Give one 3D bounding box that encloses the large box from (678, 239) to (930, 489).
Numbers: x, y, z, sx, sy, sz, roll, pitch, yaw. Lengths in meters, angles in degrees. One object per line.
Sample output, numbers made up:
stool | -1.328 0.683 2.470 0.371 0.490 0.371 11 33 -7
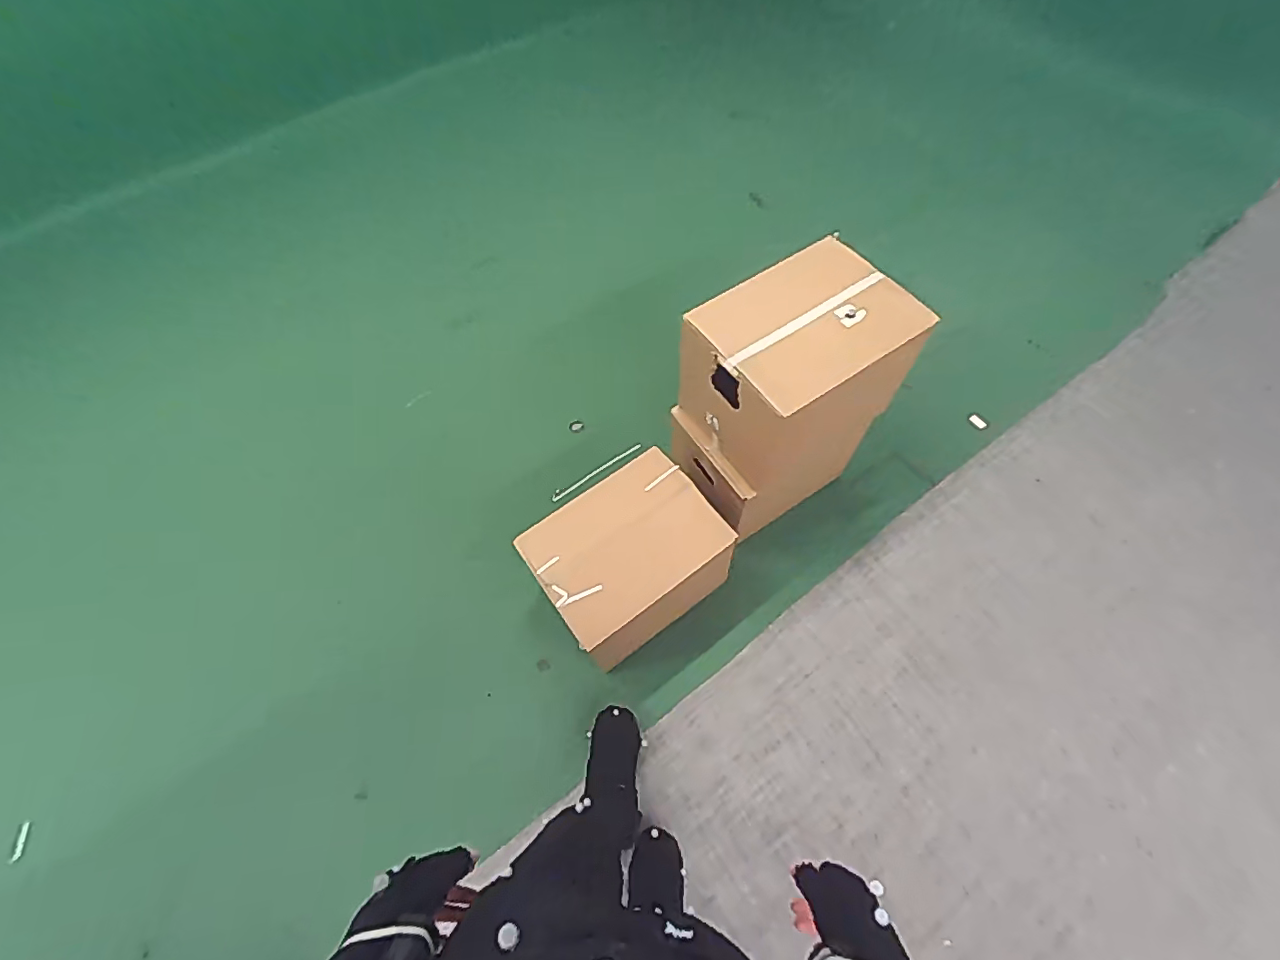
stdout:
large box | 0.334 -0.251 1.212 0.408 0.320 0.320 -32 66 -14
